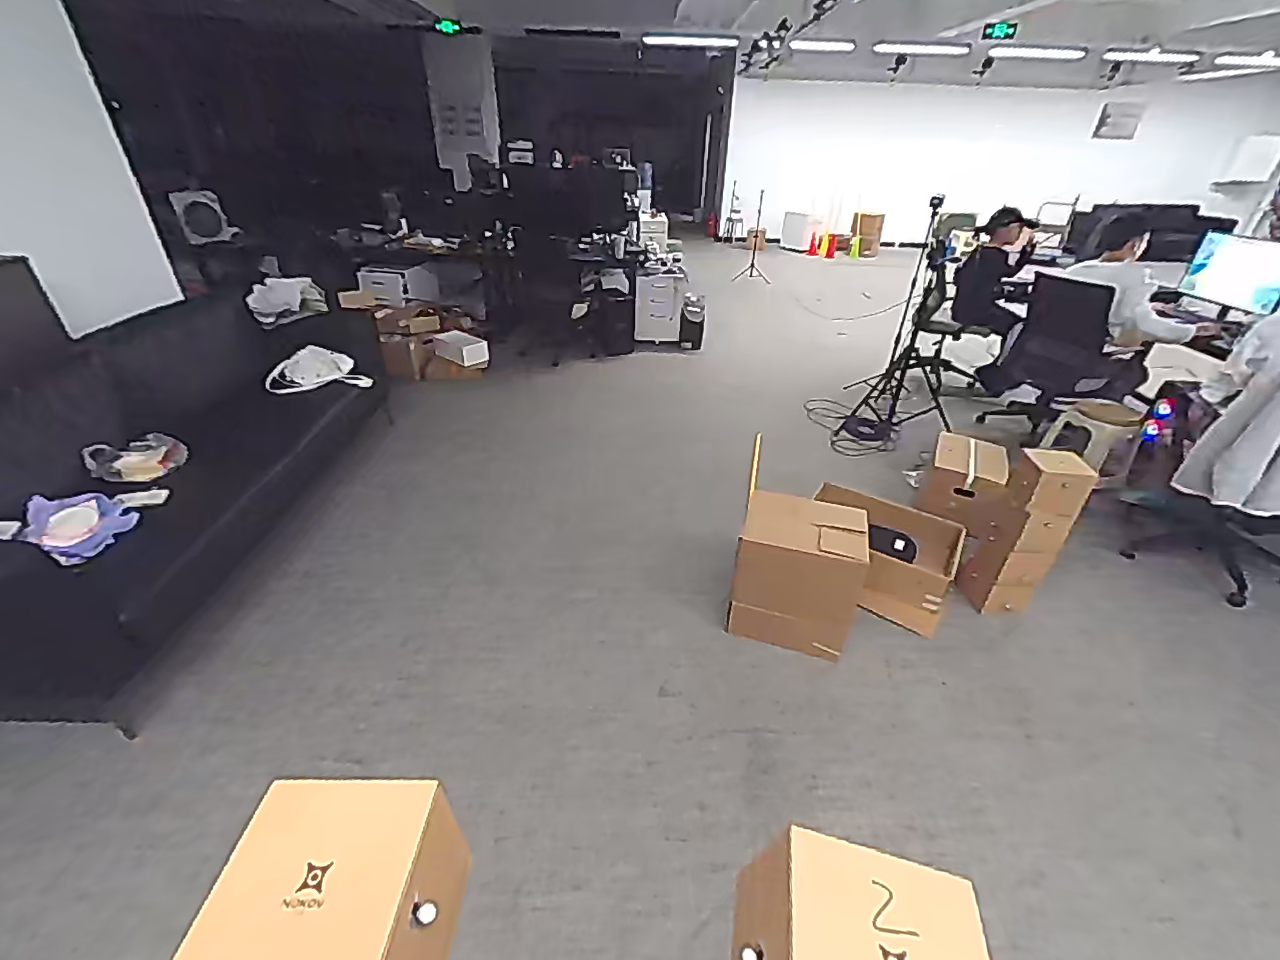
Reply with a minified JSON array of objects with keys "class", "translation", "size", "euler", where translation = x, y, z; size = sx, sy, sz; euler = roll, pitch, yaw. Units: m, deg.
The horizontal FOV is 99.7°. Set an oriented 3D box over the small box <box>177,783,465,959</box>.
[{"class":"small box","translation":[-0.273,0.411,0.498],"size":[0.168,0.176,0.179],"euler":[0,35,1]}]
